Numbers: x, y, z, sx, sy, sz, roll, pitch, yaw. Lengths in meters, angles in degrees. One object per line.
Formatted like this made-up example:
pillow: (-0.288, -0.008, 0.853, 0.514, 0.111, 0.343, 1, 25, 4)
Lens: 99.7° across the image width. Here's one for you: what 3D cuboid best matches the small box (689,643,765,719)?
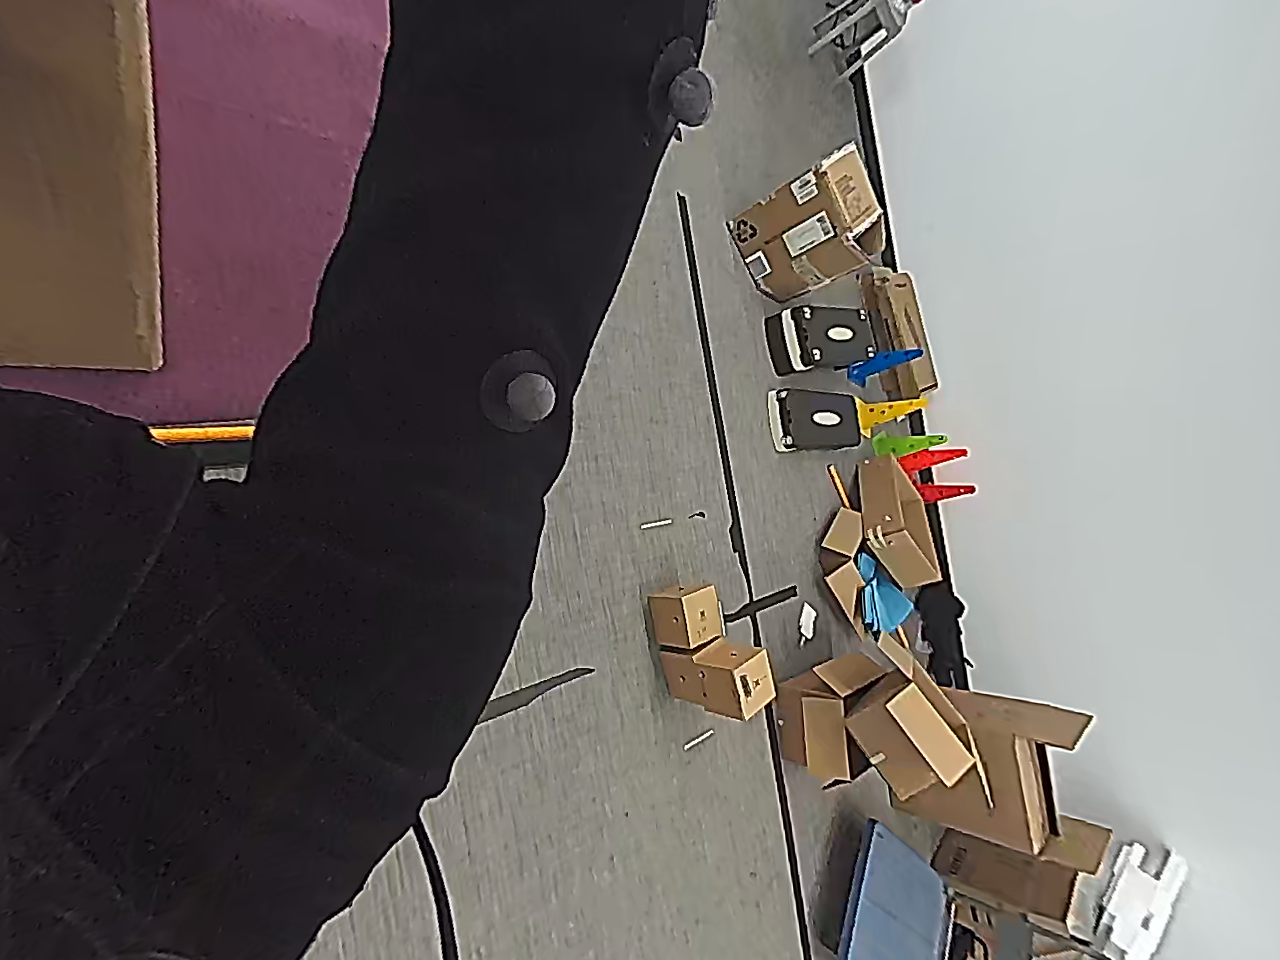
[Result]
small box: (0.277, 0.649, 1.766, 0.179, 0.176, 0.168, -15, 94, -43)
